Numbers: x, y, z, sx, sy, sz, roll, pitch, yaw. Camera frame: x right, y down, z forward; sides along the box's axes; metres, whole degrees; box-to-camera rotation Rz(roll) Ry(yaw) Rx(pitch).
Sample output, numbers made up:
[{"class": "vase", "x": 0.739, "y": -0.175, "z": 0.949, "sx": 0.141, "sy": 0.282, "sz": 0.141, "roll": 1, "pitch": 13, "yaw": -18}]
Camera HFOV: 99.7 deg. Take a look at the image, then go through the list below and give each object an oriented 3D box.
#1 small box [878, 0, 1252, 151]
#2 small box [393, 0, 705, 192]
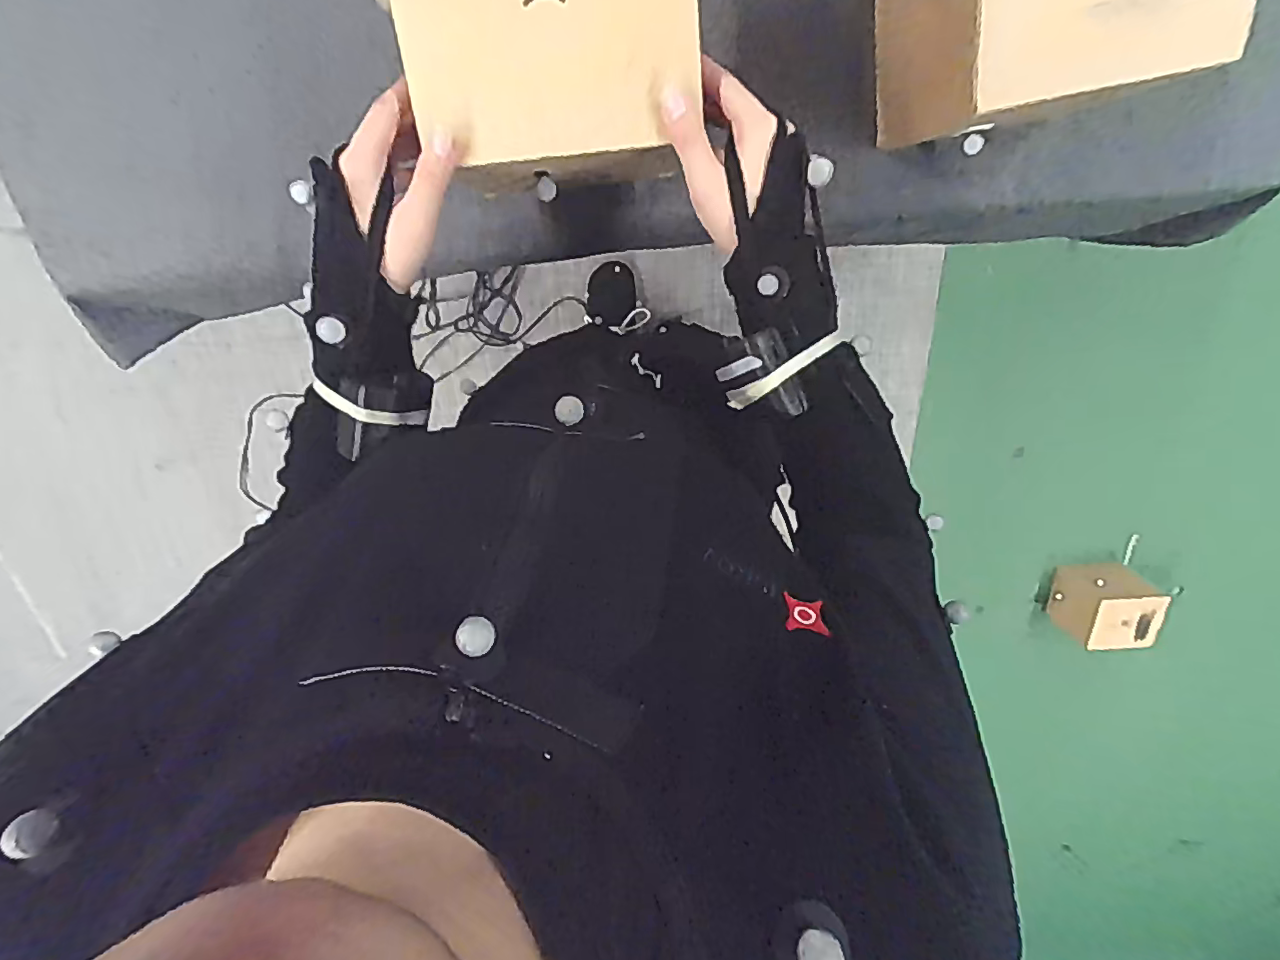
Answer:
[{"class": "small box", "x": 0.285, "y": -0.363, "z": 0.390, "sx": 0.168, "sy": 0.176, "sz": 0.179, "roll": -10, "pitch": 114, "yaw": 5}, {"class": "small box", "x": -0.052, "y": -0.296, "z": 0.355, "sx": 0.168, "sy": 0.176, "sz": 0.179, "roll": -7, "pitch": 113, "yaw": -1}]
